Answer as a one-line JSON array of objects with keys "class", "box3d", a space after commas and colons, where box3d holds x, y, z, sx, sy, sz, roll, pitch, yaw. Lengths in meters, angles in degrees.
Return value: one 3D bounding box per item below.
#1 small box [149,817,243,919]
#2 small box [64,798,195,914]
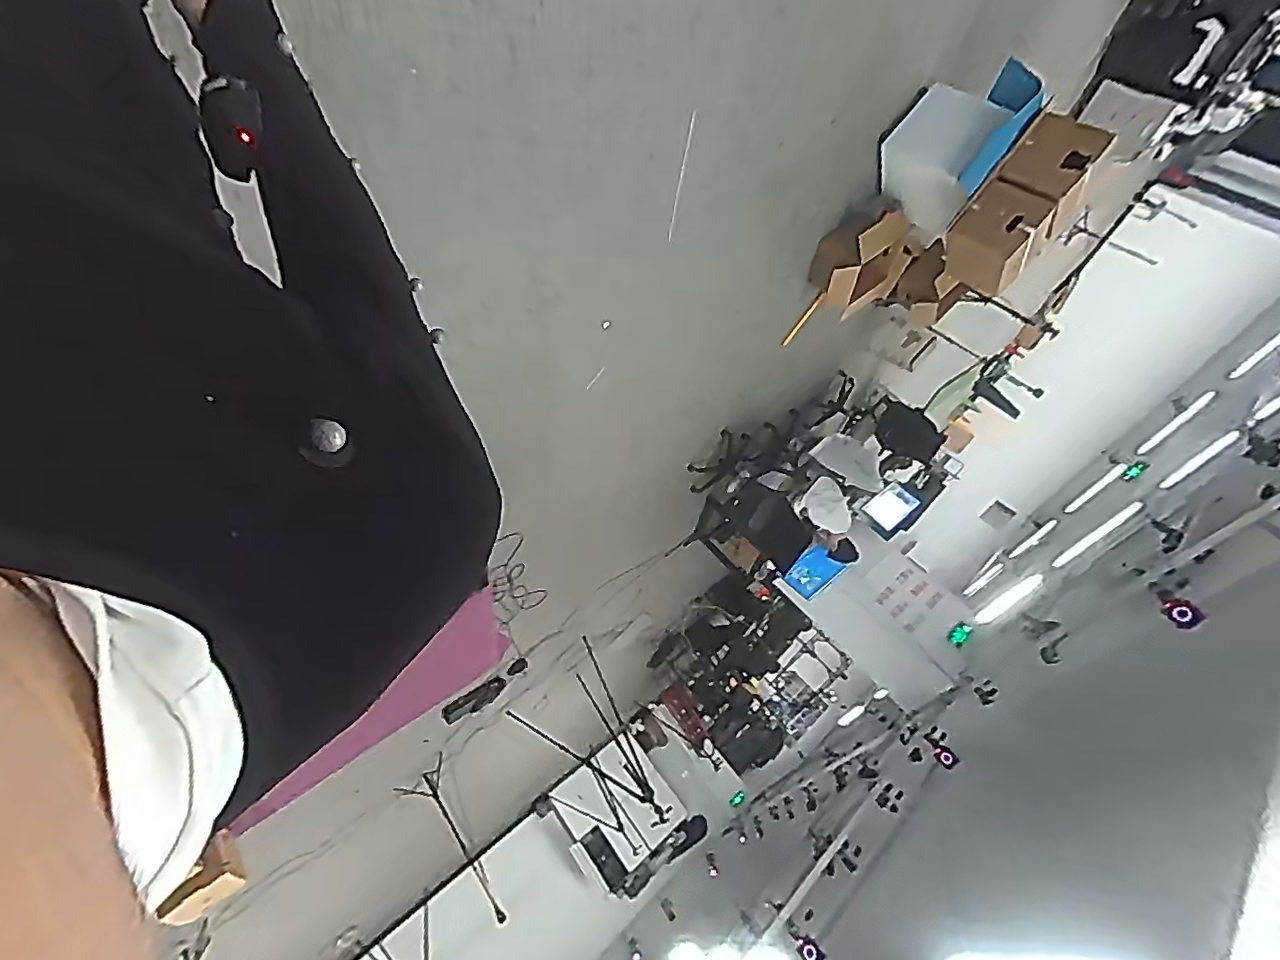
[{"class": "small box", "box3d": [-1.310, 1.128, 1.579, 0.168, 0.176, 0.179, -28, 148, -32]}, {"class": "small box", "box3d": [-1.260, 0.926, 1.340, 0.168, 0.176, 0.179, -30, 153, -32]}]
